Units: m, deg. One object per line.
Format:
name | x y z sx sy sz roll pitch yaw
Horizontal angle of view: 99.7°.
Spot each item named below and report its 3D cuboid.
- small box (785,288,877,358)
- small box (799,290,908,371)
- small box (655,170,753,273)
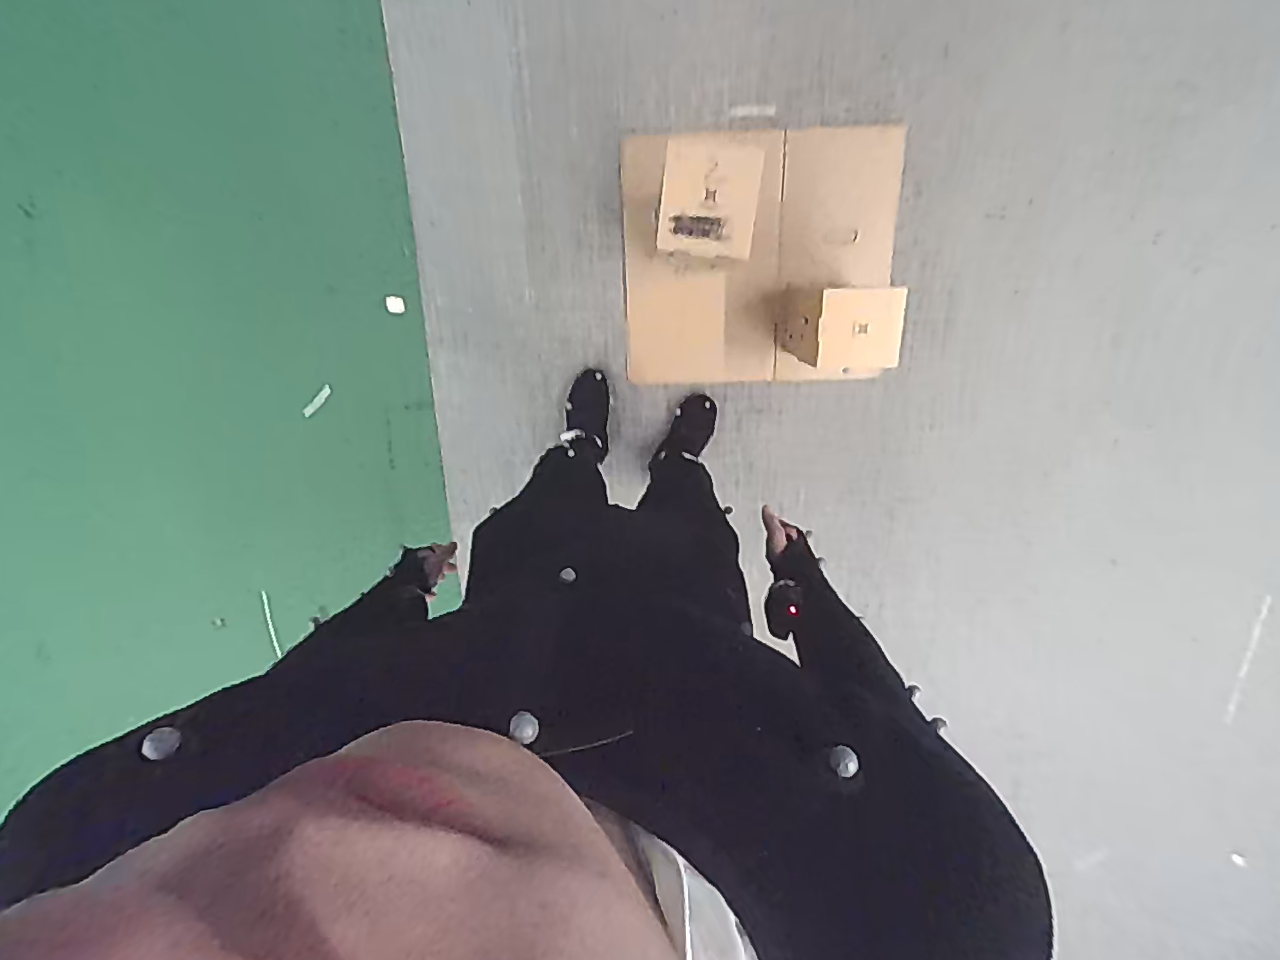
small box | 0.474 -0.395 1.369 0.179 0.176 0.168 0 108 2
small box | 0.470 -0.340 1.217 0.179 0.176 0.168 -1 108 3
small box | 0.128 -0.543 1.156 0.179 0.176 0.168 6 107 -1
